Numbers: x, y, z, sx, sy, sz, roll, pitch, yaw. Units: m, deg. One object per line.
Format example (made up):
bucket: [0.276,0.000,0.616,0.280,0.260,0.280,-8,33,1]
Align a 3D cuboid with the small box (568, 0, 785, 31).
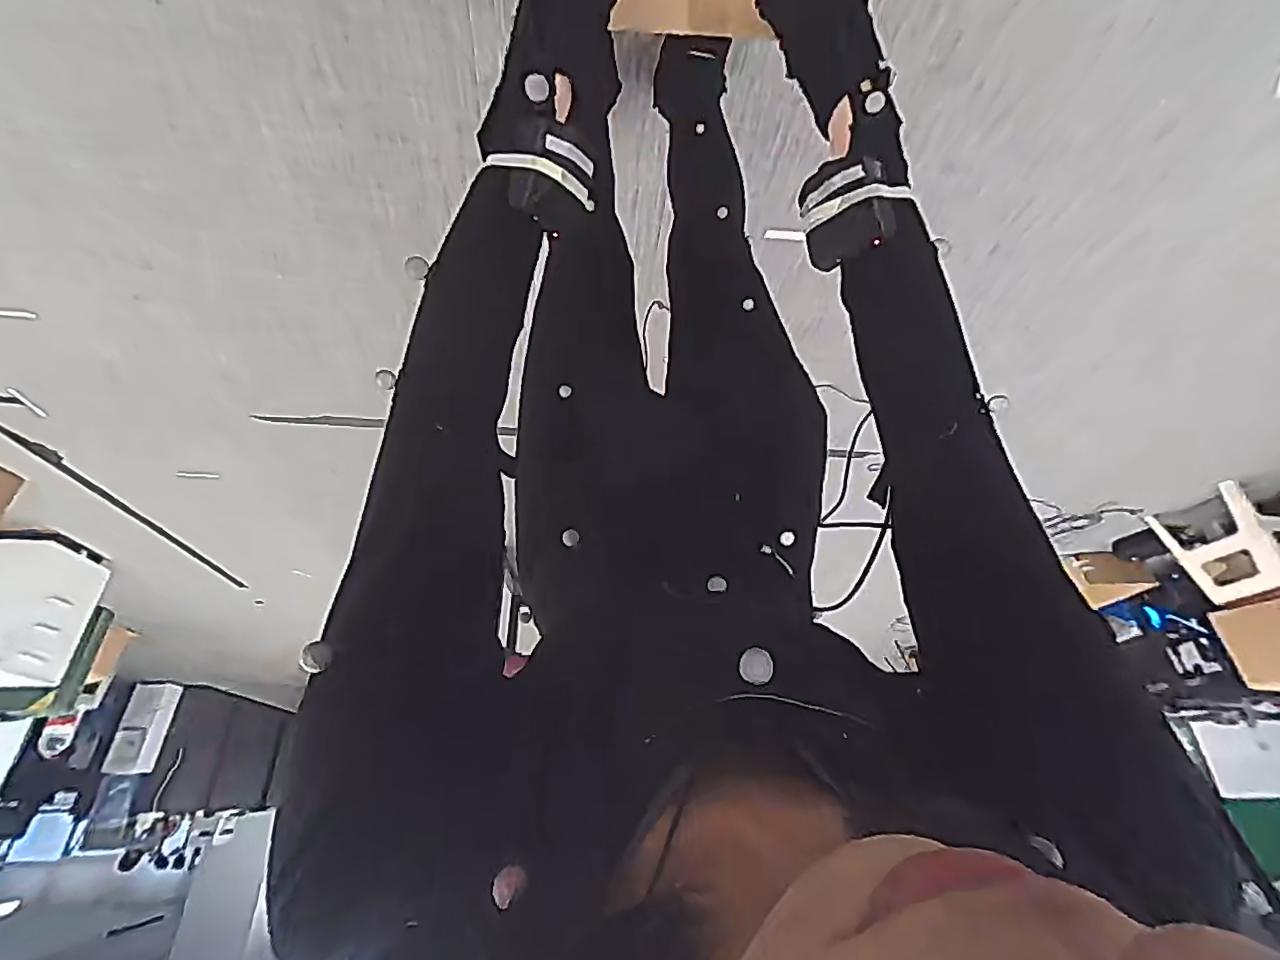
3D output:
small box: [0.029,-0.484,0.434,0.179,0.176,0.168,-1,137,-6]
